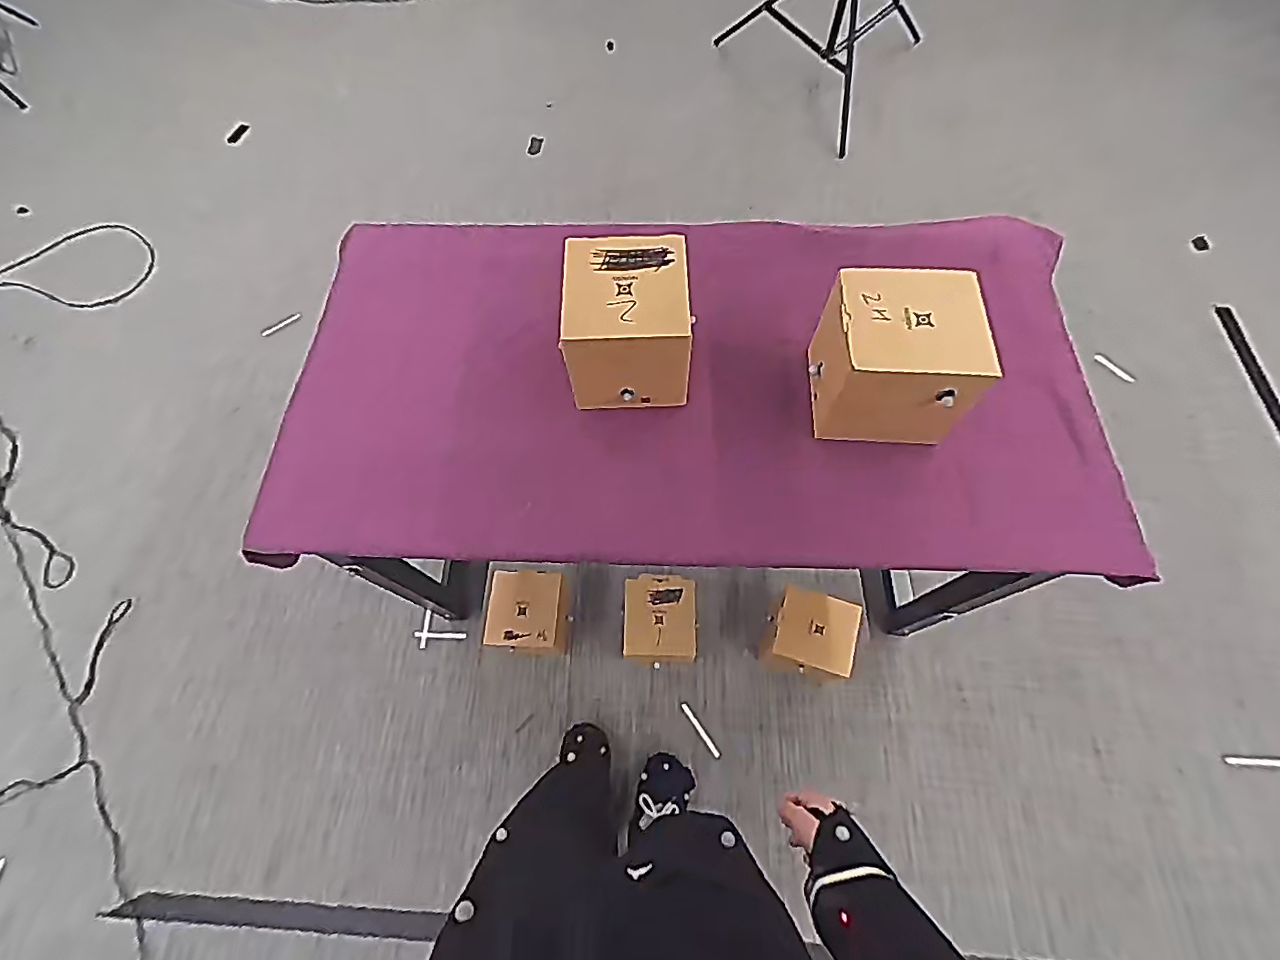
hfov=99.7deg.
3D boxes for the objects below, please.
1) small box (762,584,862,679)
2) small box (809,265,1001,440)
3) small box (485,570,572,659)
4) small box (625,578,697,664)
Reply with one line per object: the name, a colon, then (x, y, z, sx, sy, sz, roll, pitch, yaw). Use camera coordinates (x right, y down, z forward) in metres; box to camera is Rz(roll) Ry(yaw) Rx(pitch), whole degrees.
small box: (0.406, 0.368, 1.294, 0.179, 0.176, 0.168, 16, 68, 10)
small box: (0.343, -0.166, 0.736, 0.179, 0.176, 0.168, 2, 65, 4)
small box: (-0.265, 0.335, 1.334, 0.168, 0.176, 0.179, 3, 64, 3)
small box: (0.051, 0.347, 1.316, 0.168, 0.176, 0.179, 0, 66, 3)
